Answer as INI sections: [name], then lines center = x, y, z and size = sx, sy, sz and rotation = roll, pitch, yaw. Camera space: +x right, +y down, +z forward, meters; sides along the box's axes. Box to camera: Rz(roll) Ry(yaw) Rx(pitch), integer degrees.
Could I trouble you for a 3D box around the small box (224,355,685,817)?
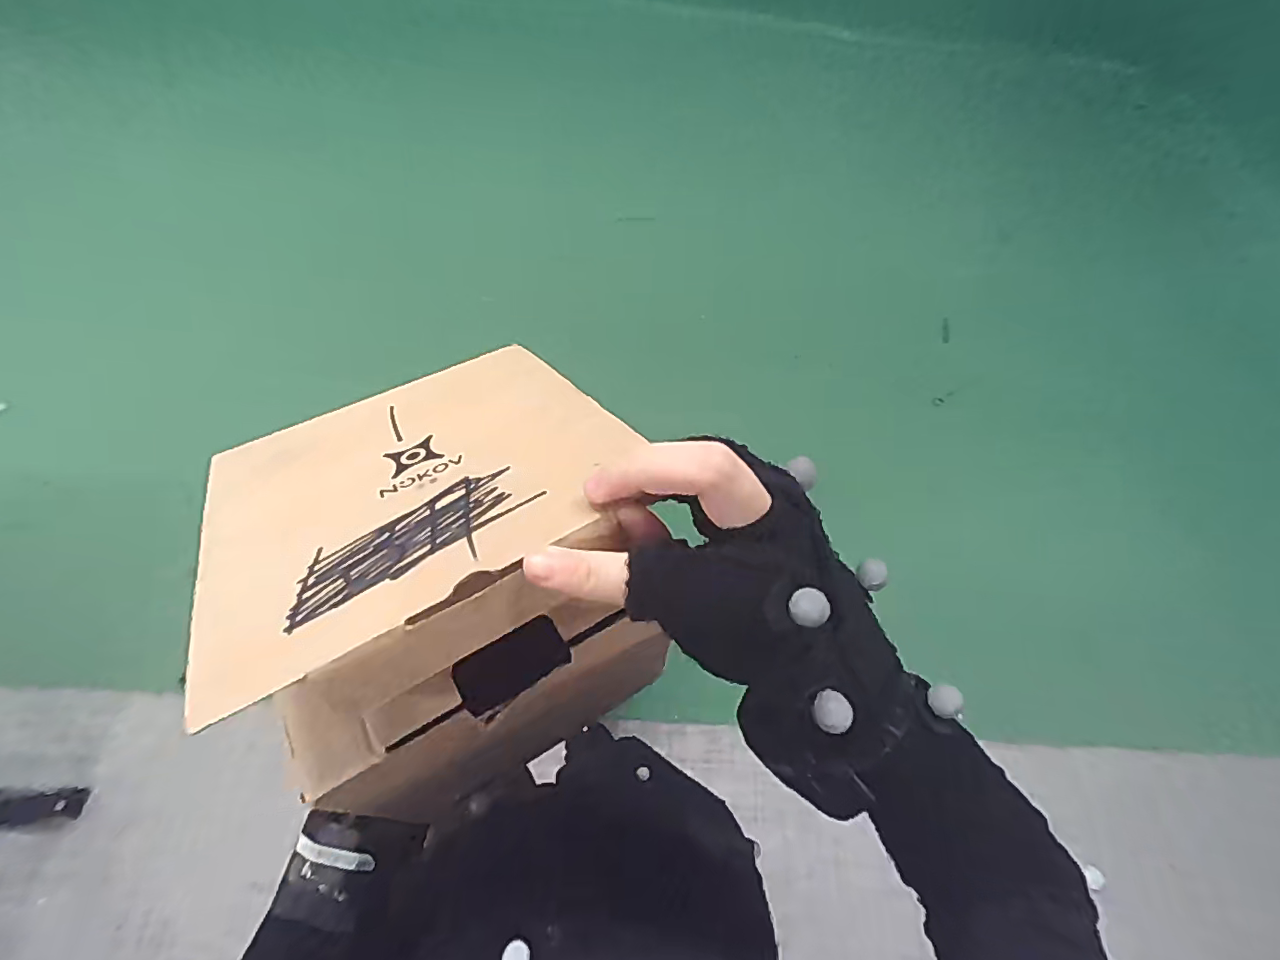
[small box]
center = -0.093, 0.066, 0.317
size = 0.168, 0.176, 0.179
rotation = -27, 59, -20
